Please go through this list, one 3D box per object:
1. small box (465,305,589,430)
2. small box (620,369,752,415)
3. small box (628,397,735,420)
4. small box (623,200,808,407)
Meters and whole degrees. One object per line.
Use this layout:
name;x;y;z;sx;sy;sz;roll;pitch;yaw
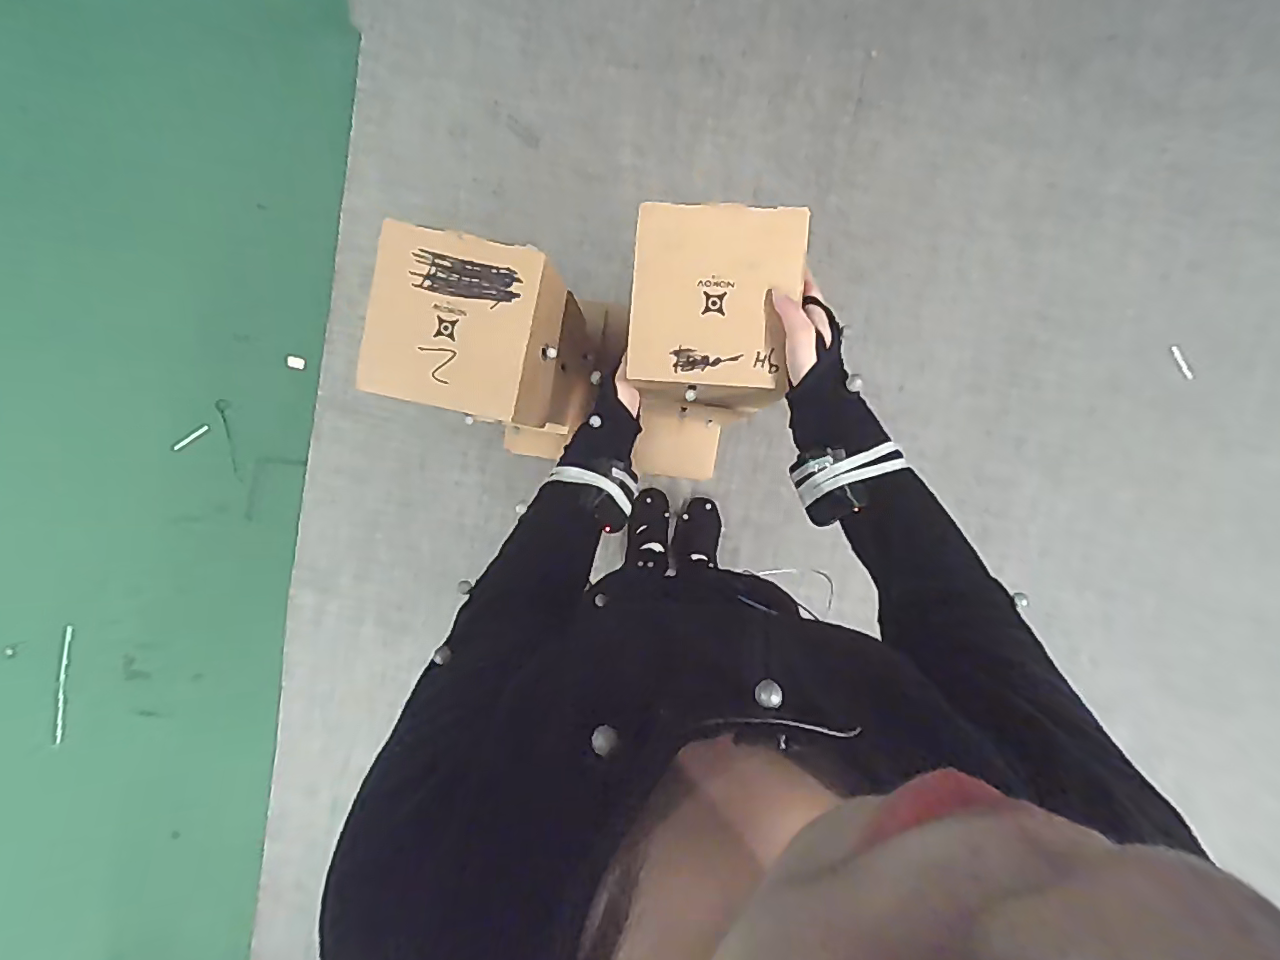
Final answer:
small box;-0.188;-0.186;0.945;0.168;0.176;0.179;10;94;0
small box;0.076;-0.188;0.774;0.179;0.176;0.168;10;93;3
small box;0.082;-0.198;0.937;0.179;0.176;0.168;8;93;3
small box;0.079;-0.182;0.602;0.168;0.176;0.179;5;94;6
